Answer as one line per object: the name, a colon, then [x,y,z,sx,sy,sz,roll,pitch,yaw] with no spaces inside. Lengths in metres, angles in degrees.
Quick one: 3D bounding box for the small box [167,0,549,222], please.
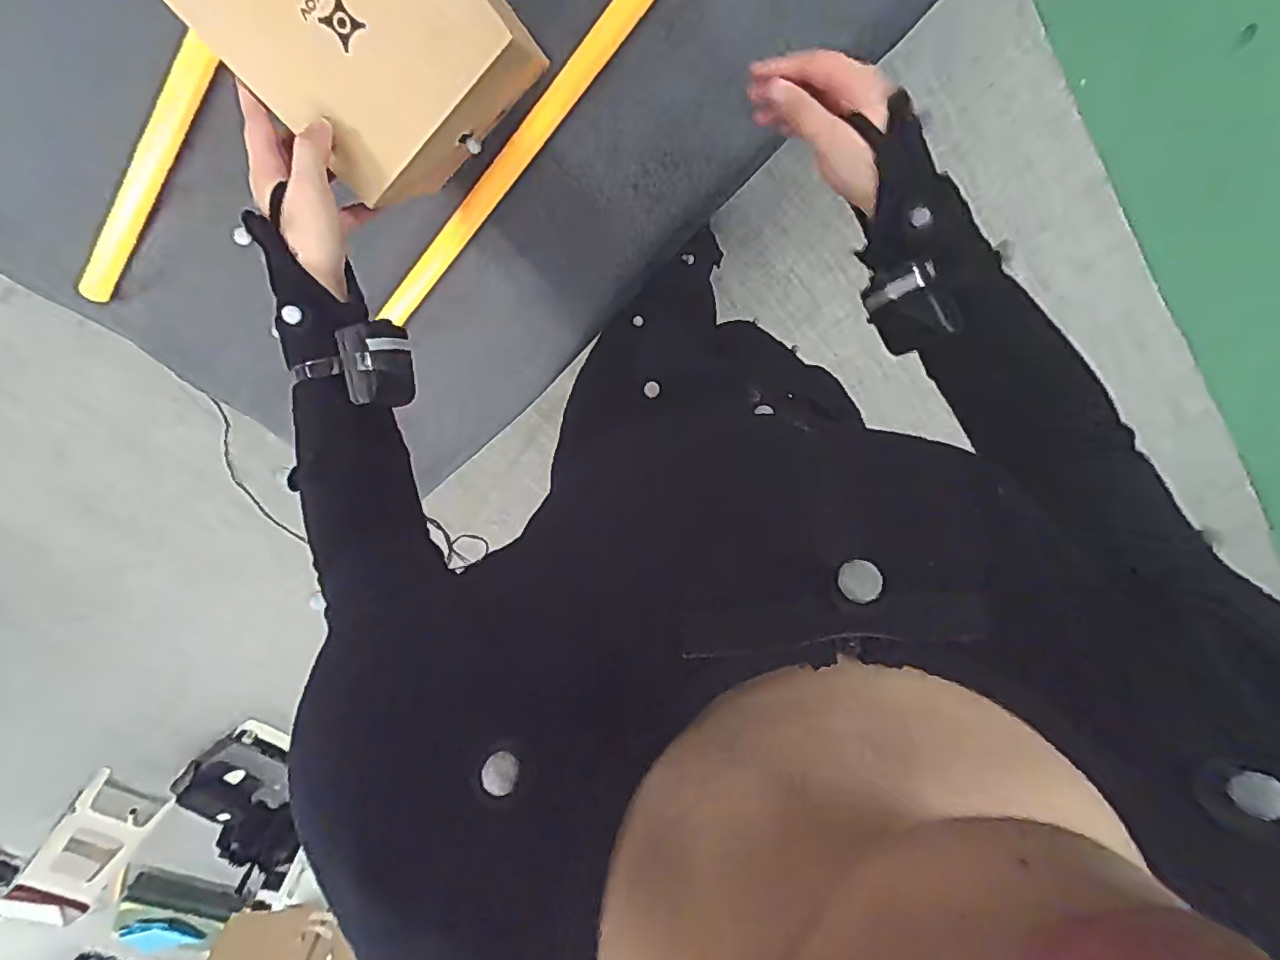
small box: [-0.194,-0.344,0.429,0.168,0.176,0.179,-35,116,20]
